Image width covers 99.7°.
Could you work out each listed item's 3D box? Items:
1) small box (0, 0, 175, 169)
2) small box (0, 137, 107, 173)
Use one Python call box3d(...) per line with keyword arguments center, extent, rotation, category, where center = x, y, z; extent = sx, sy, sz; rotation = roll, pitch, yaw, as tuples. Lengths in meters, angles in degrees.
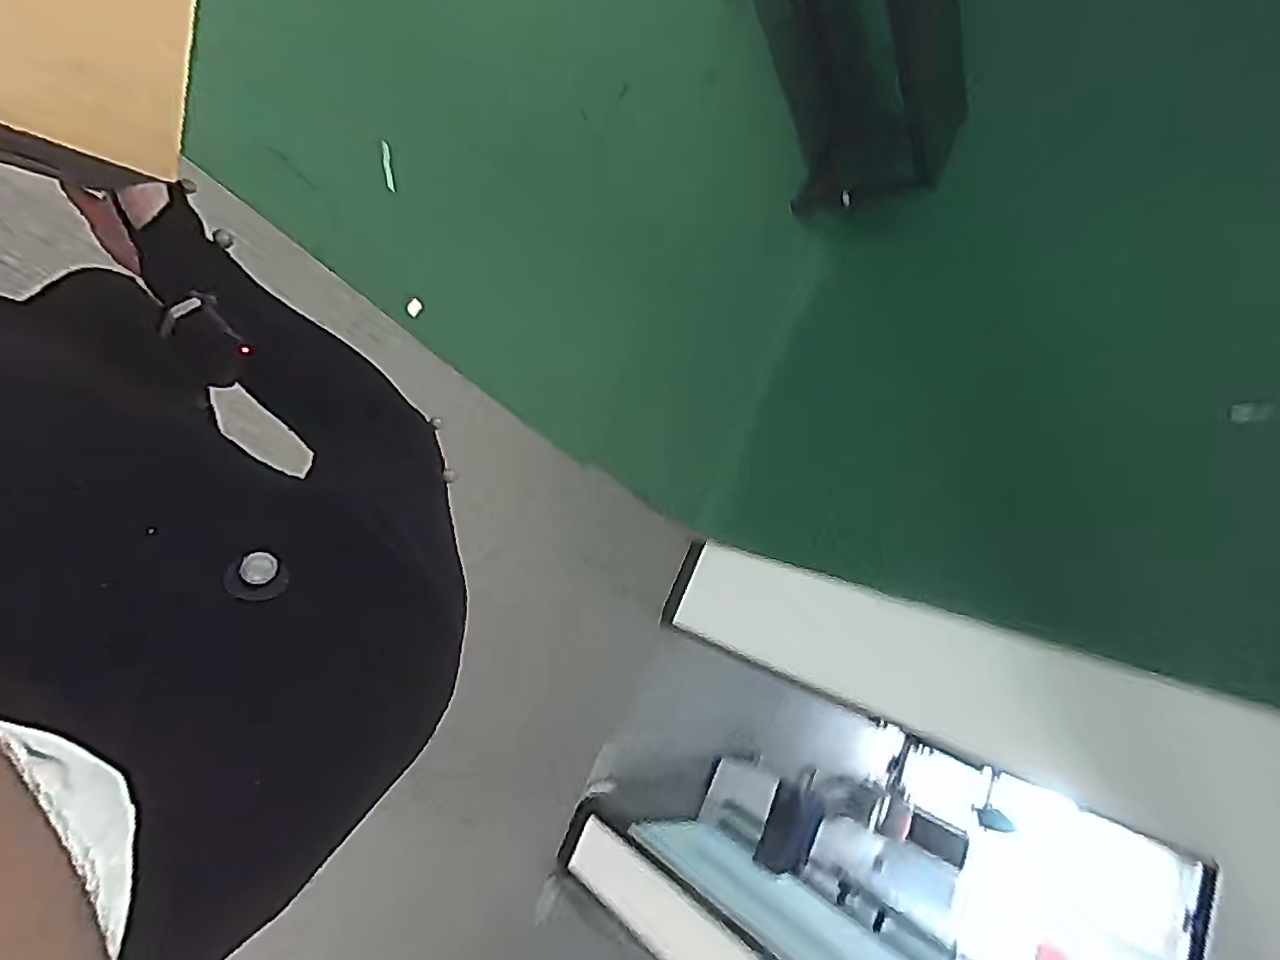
box3d(center=(-0.350, -0.278, 0.268), extent=(0.168, 0.176, 0.179), rotation=(1, 107, -50), category="small box")
box3d(center=(-0.472, -0.329, 0.362), extent=(0.168, 0.176, 0.179), rotation=(0, 108, -50), category="small box")
